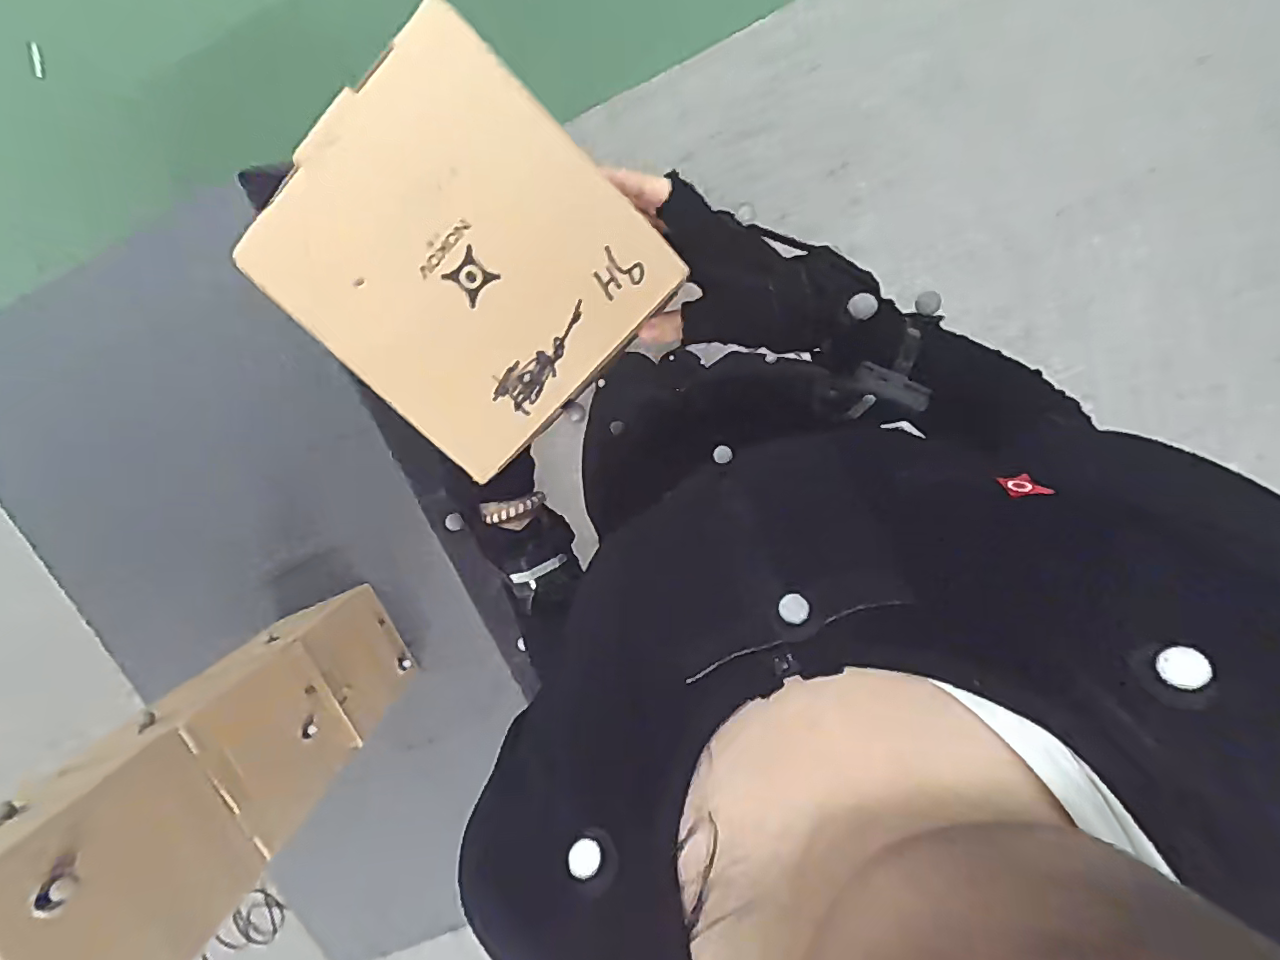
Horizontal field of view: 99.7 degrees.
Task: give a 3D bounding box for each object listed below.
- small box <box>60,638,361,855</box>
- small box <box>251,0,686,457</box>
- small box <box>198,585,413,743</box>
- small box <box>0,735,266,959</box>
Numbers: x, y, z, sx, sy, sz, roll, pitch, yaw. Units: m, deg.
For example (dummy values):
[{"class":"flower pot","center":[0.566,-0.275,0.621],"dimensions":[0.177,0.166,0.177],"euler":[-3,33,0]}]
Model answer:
[{"class":"small box","center":[-0.468,0.312,0.618],"dimensions":[0.179,0.176,0.168],"euler":[-23,100,9]},{"class":"small box","center":[-0.090,-0.142,0.364],"dimensions":[0.168,0.176,0.179],"euler":[-43,99,11]},{"class":"small box","center":[-0.458,0.276,0.775],"dimensions":[0.179,0.176,0.168],"euler":[-23,101,10]},{"class":"small box","center":[-0.477,0.347,0.456],"dimensions":[0.168,0.176,0.179],"euler":[-22,100,9]}]
